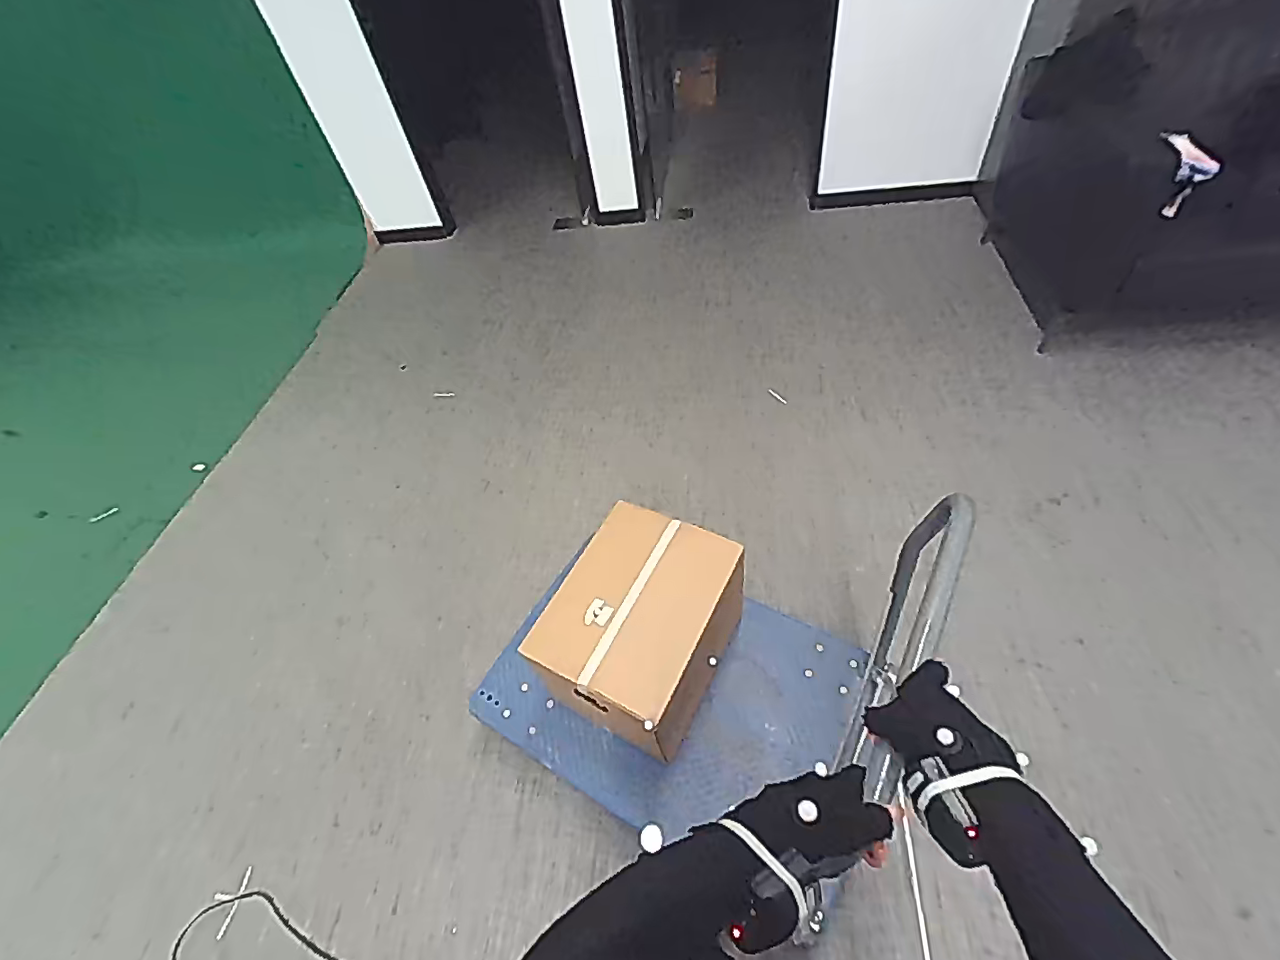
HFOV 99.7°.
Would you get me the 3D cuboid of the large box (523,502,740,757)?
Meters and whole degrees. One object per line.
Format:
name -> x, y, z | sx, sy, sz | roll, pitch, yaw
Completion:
large box -> 0.010, 0.328, 1.215 | 0.320, 0.320, 0.408 | 19, 58, 24
